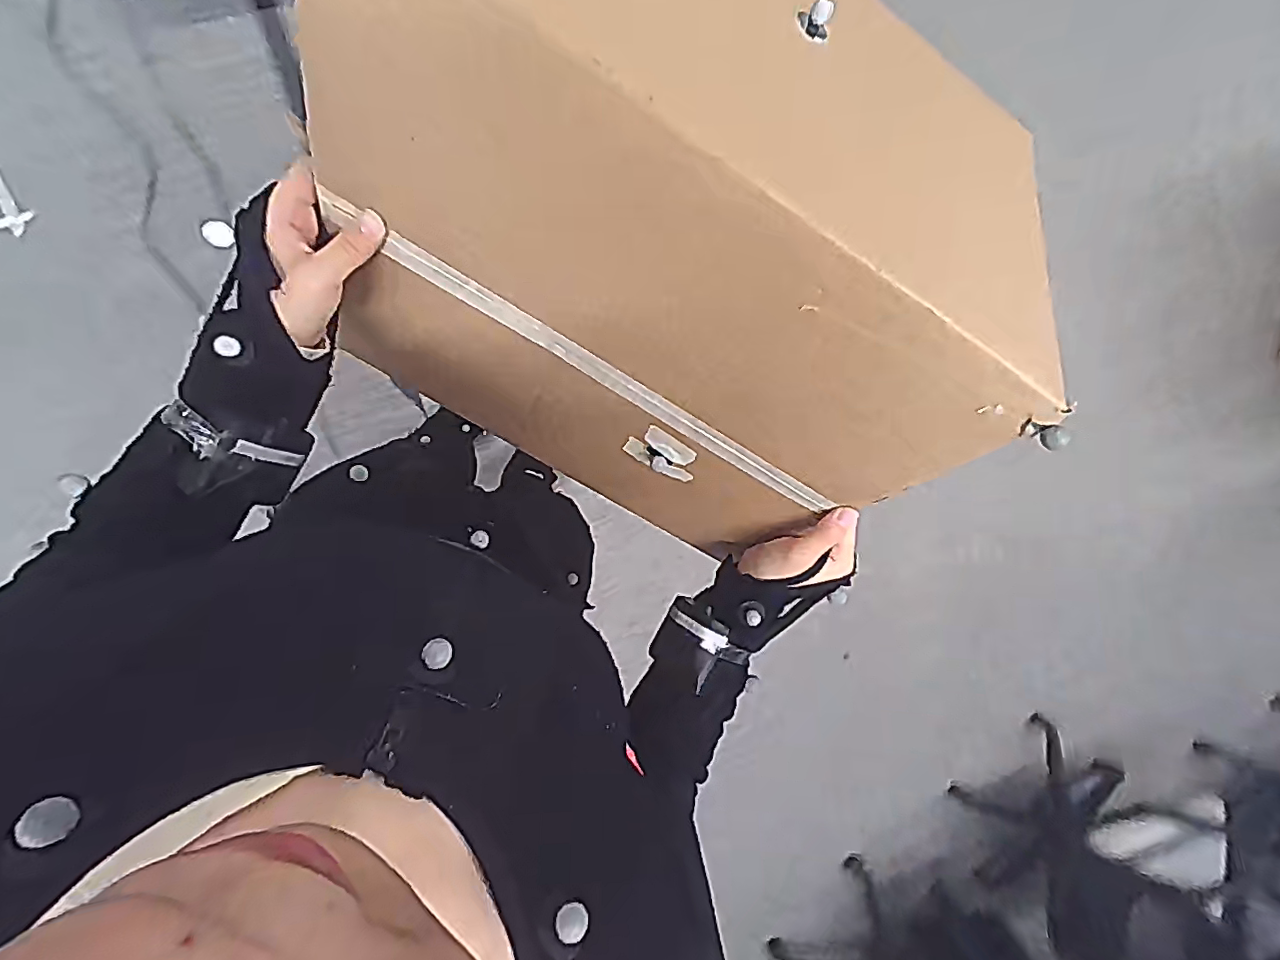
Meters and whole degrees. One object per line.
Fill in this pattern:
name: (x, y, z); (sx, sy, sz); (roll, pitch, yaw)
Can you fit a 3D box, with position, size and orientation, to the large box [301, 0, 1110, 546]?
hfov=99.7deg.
large box: (0.035, -0.205, 0.420); (0.408, 0.320, 0.320); (27, 59, -11)
